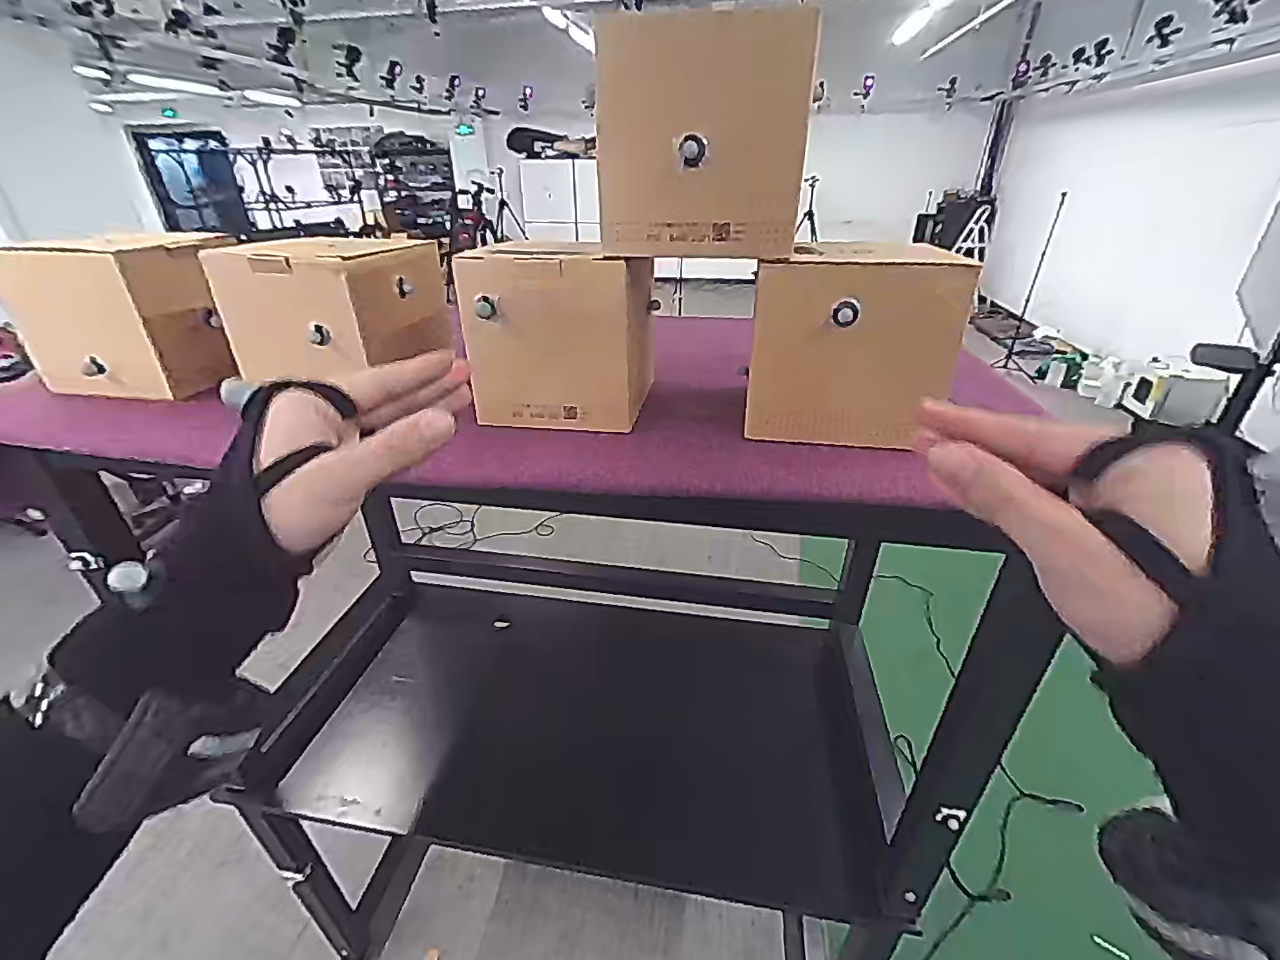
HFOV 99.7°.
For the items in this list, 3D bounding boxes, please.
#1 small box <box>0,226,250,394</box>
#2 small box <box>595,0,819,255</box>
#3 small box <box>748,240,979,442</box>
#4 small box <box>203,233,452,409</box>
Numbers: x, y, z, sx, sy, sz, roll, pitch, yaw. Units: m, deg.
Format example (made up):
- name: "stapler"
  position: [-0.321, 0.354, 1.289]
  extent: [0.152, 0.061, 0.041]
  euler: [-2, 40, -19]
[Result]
- name: "small box"
  position: [-0.611, -0.213, 0.670]
  extent: [0.179, 0.176, 0.168]
  euler: [5, 29, 6]
- name: "small box"
  position: [0.060, -0.304, 0.497]
  extent: [0.168, 0.176, 0.179]
  euler: [4, 28, 8]
- name: "small box"
  position: [0.203, -0.146, 0.549]
  extent: [0.179, 0.176, 0.168]
  euler: [5, 29, 10]
- name: "small box"
  position: [-0.341, -0.191, 0.634]
  extent: [0.168, 0.176, 0.179]
  euler: [6, 29, 10]
